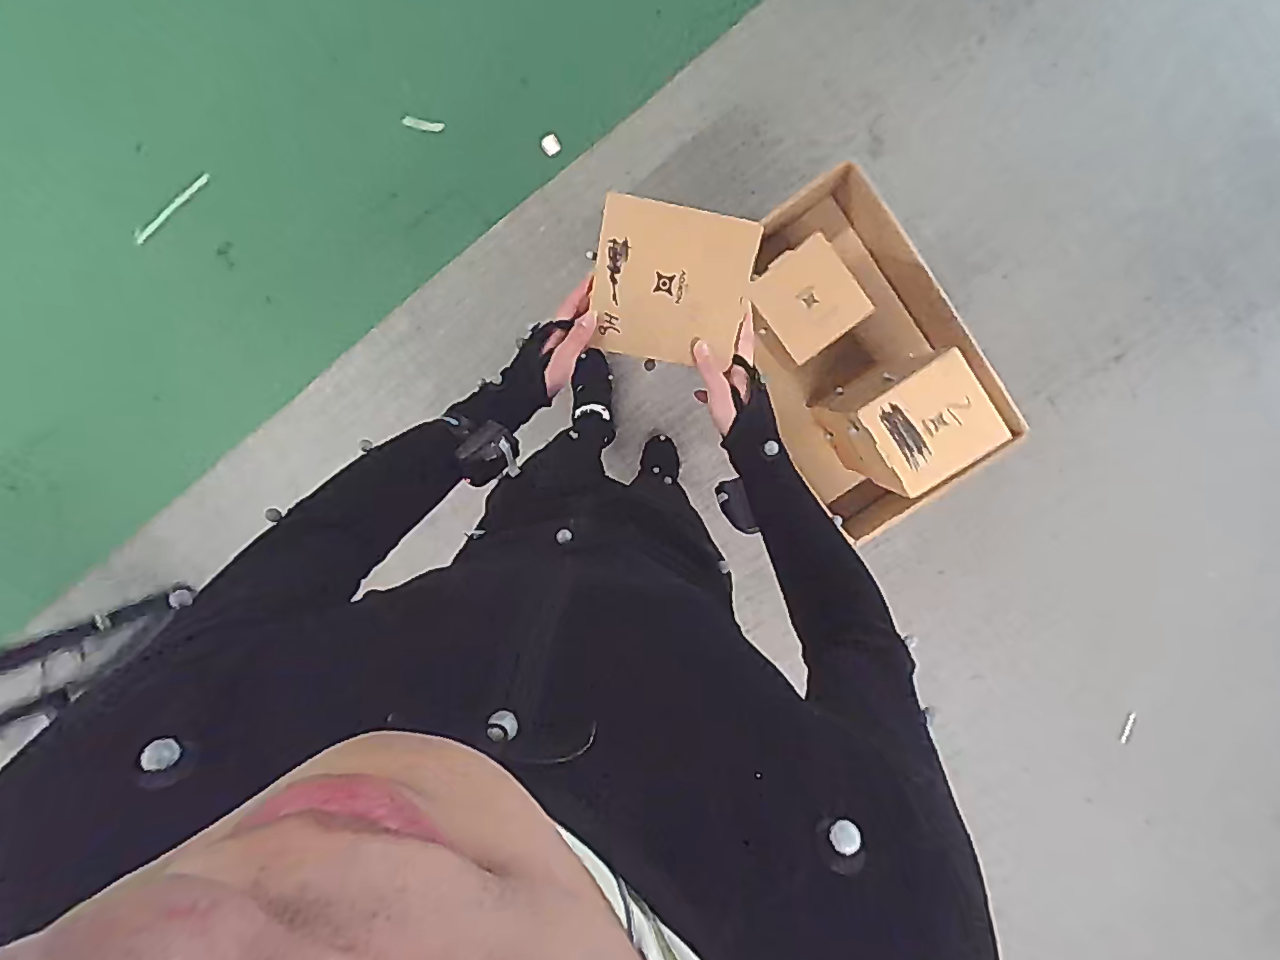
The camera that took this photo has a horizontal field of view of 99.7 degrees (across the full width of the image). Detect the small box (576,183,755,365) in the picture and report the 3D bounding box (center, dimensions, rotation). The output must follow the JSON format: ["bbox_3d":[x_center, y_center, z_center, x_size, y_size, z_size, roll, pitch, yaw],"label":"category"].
[{"bbox_3d":[0.021,-0.244,0.672,0.179,0.176,0.168,9,104,-6],"label":"small box"}]

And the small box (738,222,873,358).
[{"bbox_3d":[0.304,-0.351,1.042,0.168,0.176,0.179,-36,96,9],"label":"small box"}]
